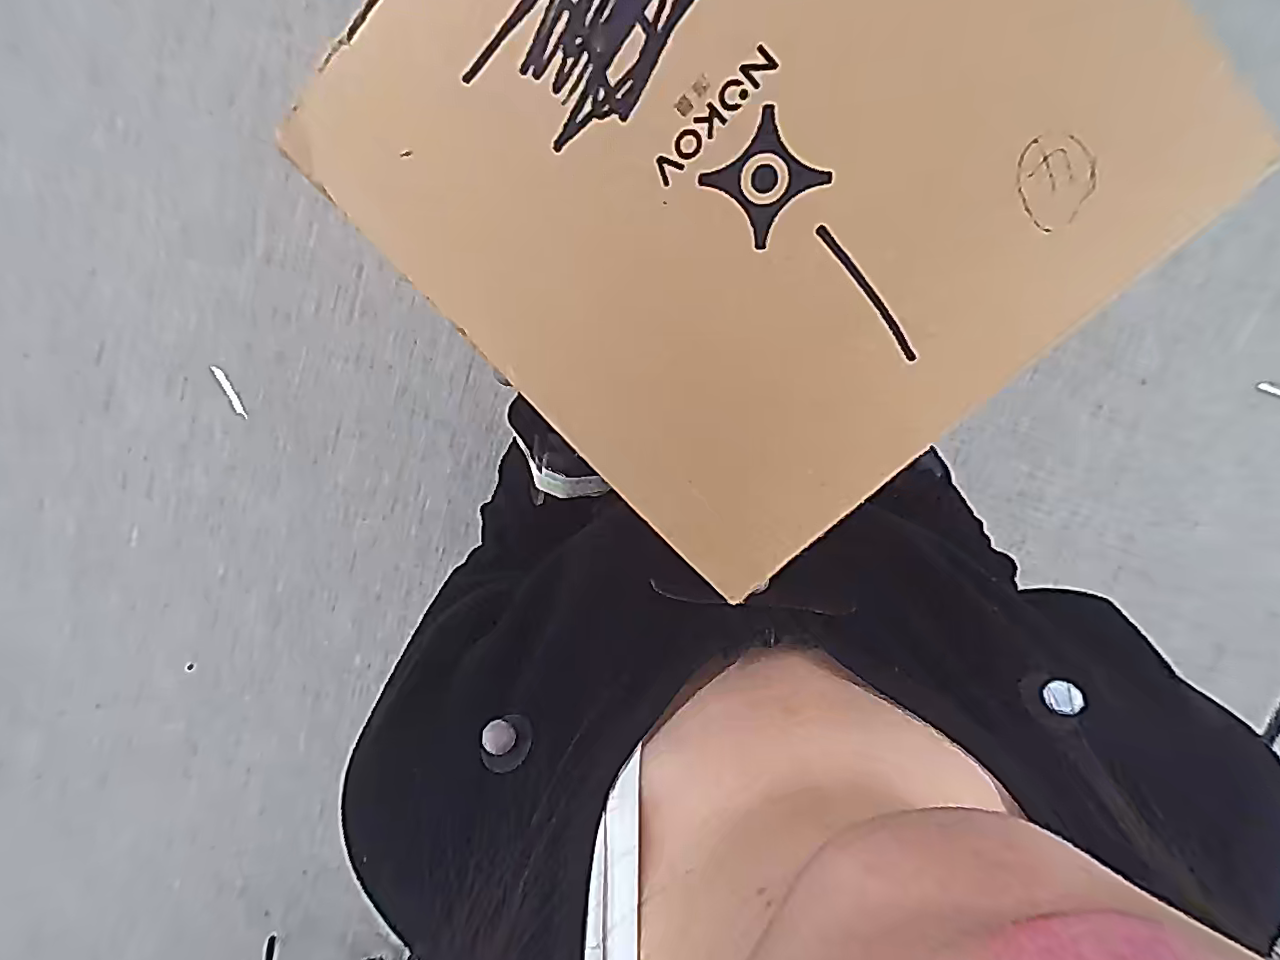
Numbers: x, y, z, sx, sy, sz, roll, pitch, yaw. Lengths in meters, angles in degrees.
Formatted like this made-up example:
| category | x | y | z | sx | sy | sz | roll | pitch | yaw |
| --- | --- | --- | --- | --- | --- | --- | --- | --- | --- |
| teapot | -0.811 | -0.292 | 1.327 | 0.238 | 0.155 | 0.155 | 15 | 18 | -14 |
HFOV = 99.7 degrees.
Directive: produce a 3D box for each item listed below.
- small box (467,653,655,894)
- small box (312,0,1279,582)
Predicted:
| category | x | y | z | sx | sy | sz | roll | pitch | yaw |
| --- | --- | --- | --- | --- | --- | --- | --- | --- | --- |
| small box | -0.087 | 0.347 | 0.673 | 0.168 | 0.176 | 0.179 | 21 | 100 | -1 |
| small box | 0.038 | -0.100 | 0.207 | 0.168 | 0.176 | 0.179 | -43 | 97 | 13 |
